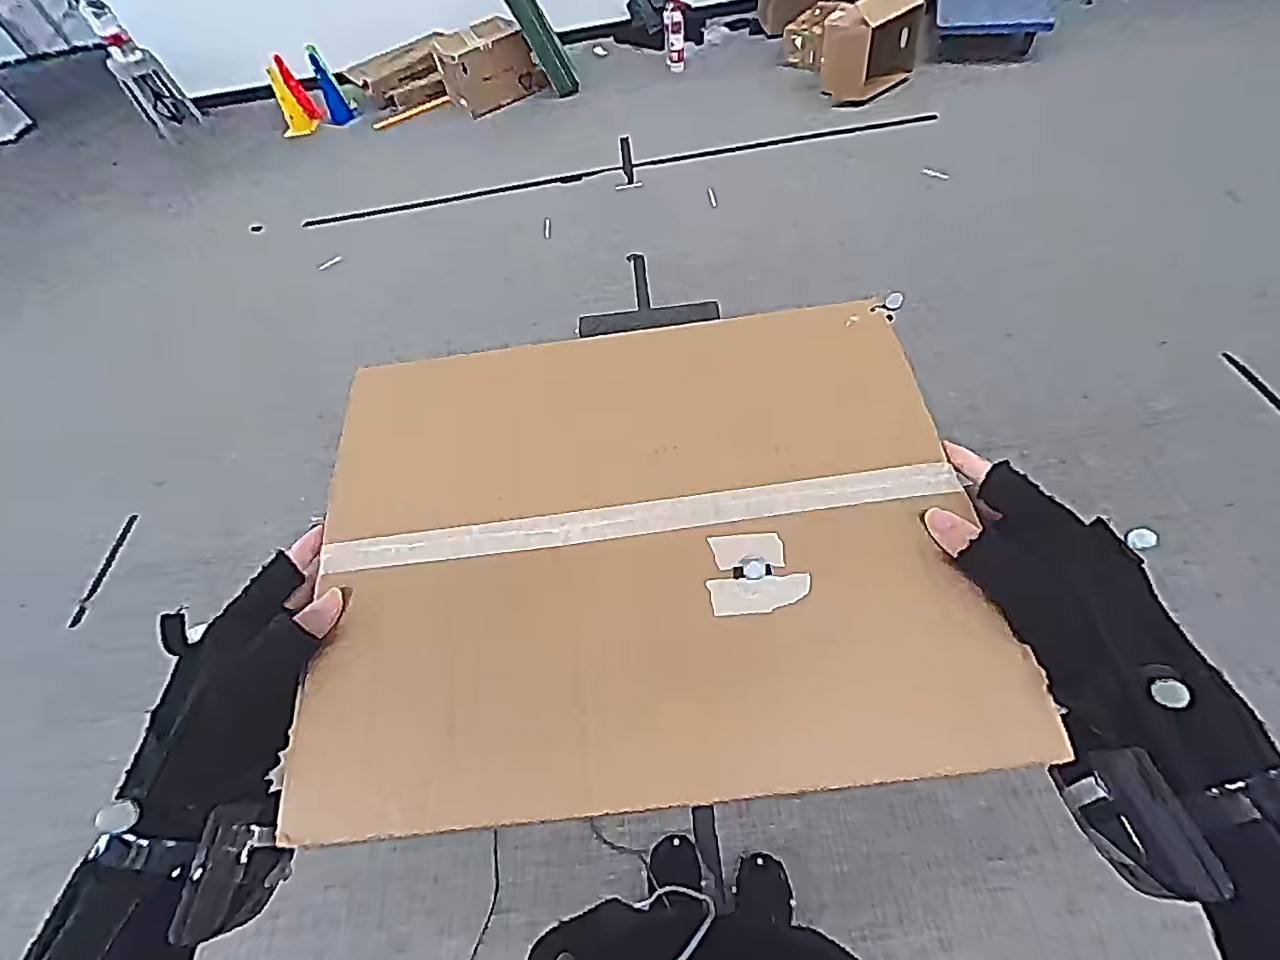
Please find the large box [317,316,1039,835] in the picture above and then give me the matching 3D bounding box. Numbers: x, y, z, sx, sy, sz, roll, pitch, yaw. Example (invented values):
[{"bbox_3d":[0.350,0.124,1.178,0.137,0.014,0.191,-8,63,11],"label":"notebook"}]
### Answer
[{"bbox_3d":[0.012,0.099,0.490,0.408,0.320,0.320,-7,63,1],"label":"large box"}]
